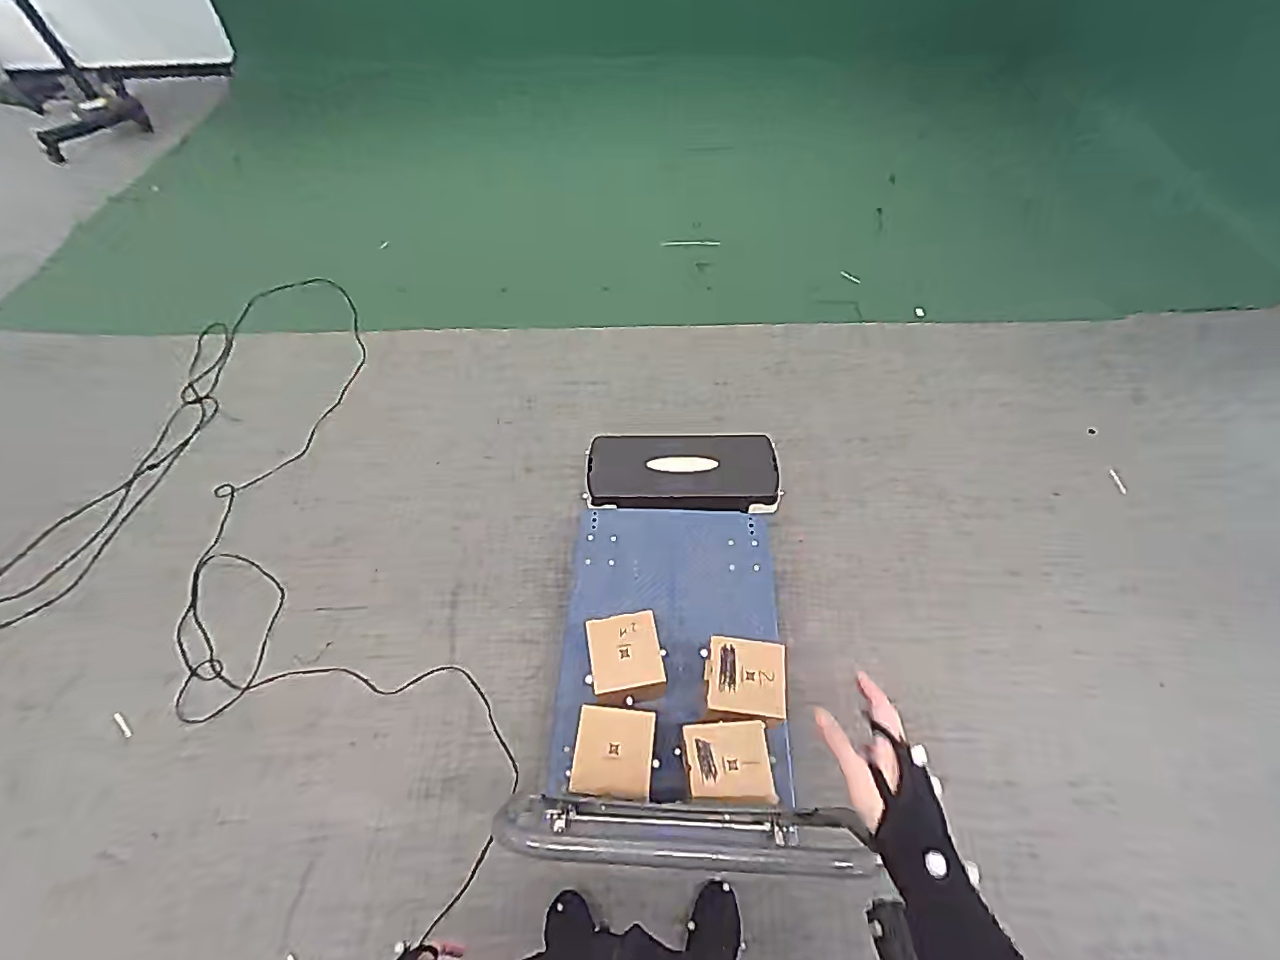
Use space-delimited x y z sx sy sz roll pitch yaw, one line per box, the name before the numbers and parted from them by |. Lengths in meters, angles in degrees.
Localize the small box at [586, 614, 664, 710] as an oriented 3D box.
small box | -0.038 0.451 1.325 0.168 0.176 0.179 -8 55 -6
